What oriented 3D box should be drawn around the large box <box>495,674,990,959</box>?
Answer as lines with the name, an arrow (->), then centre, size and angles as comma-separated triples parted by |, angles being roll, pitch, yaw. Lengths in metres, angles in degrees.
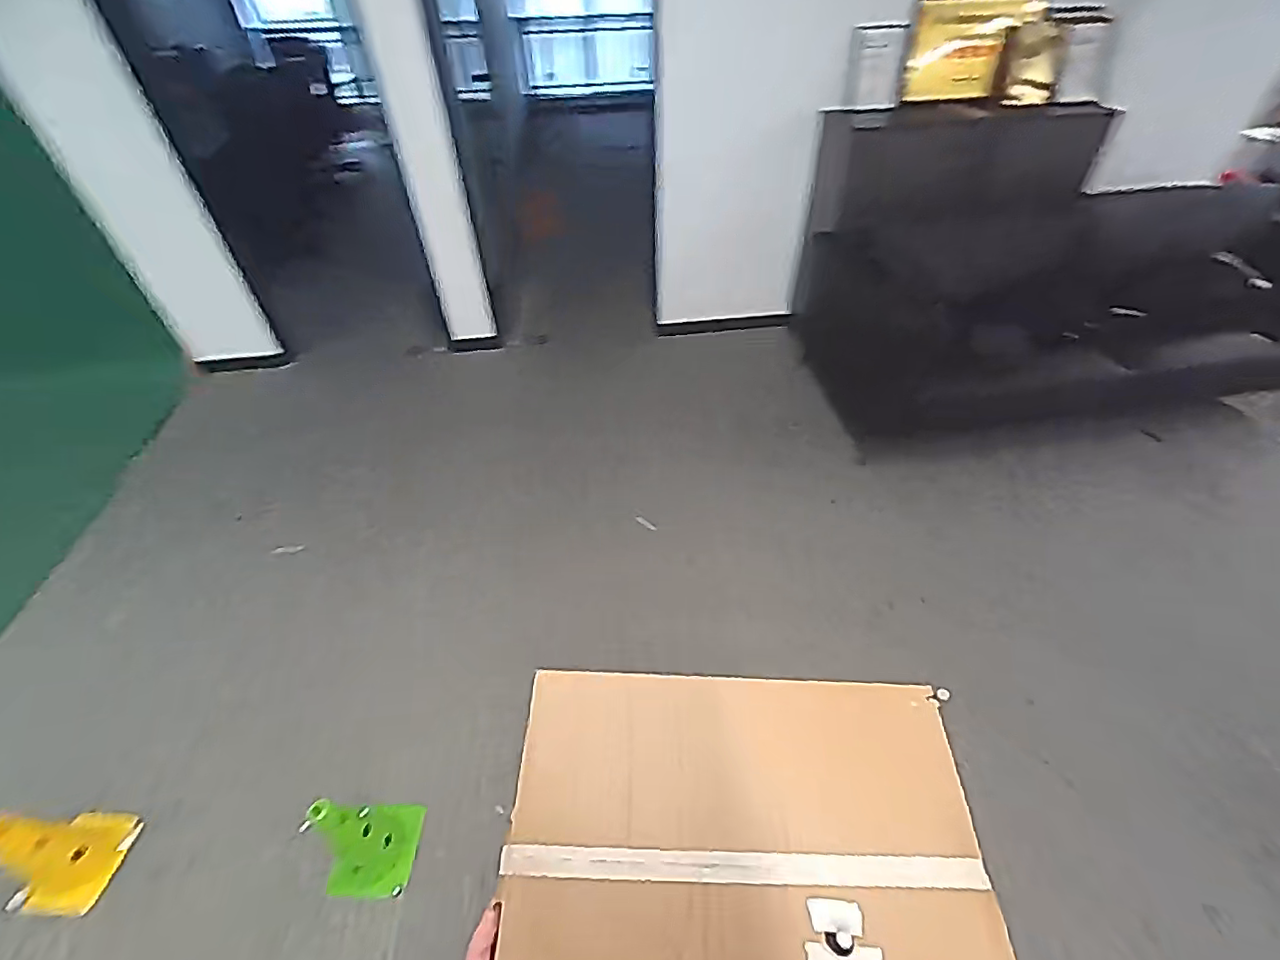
large box -> 0.075, 0.416, 0.585 | 0.408, 0.320, 0.320 | 2, 54, -2

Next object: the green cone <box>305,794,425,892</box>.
green cone -> -0.683, 0.818, 1.278 | 0.202, 0.368, 0.200 | -2, 44, 2
